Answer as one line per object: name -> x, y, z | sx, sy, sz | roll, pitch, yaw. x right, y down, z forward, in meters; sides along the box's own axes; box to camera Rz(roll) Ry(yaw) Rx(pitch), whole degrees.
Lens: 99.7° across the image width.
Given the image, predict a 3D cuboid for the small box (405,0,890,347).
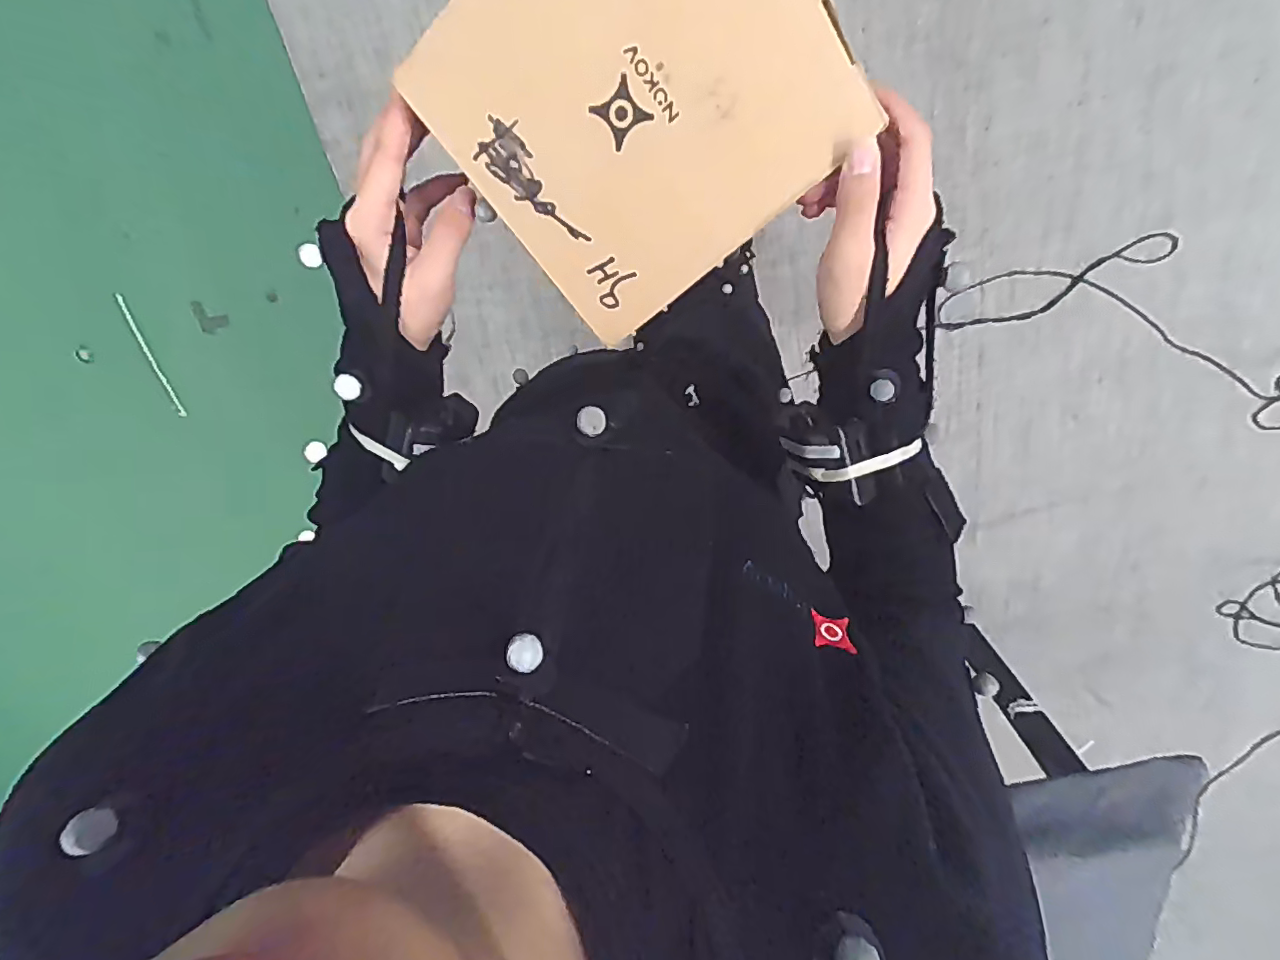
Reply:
small box -> 0.007, -0.215, 0.326 | 0.179, 0.176, 0.168 | -34, 110, 19
